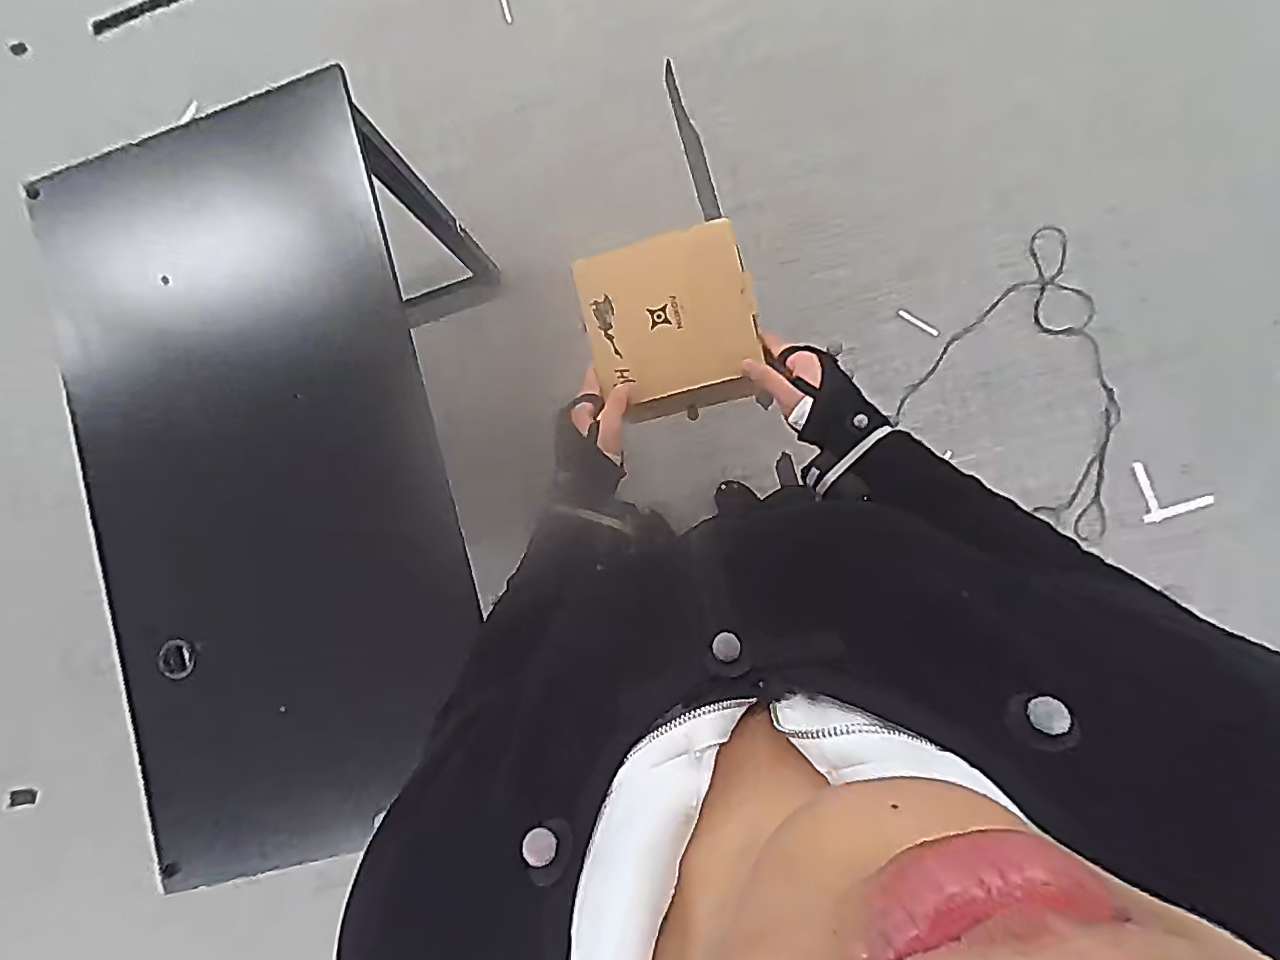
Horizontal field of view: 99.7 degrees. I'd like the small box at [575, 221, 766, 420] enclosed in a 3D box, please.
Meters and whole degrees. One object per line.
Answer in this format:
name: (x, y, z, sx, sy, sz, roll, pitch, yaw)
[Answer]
small box: (0.038, -0.174, 0.646, 0.179, 0.176, 0.168, -12, 89, 7)
